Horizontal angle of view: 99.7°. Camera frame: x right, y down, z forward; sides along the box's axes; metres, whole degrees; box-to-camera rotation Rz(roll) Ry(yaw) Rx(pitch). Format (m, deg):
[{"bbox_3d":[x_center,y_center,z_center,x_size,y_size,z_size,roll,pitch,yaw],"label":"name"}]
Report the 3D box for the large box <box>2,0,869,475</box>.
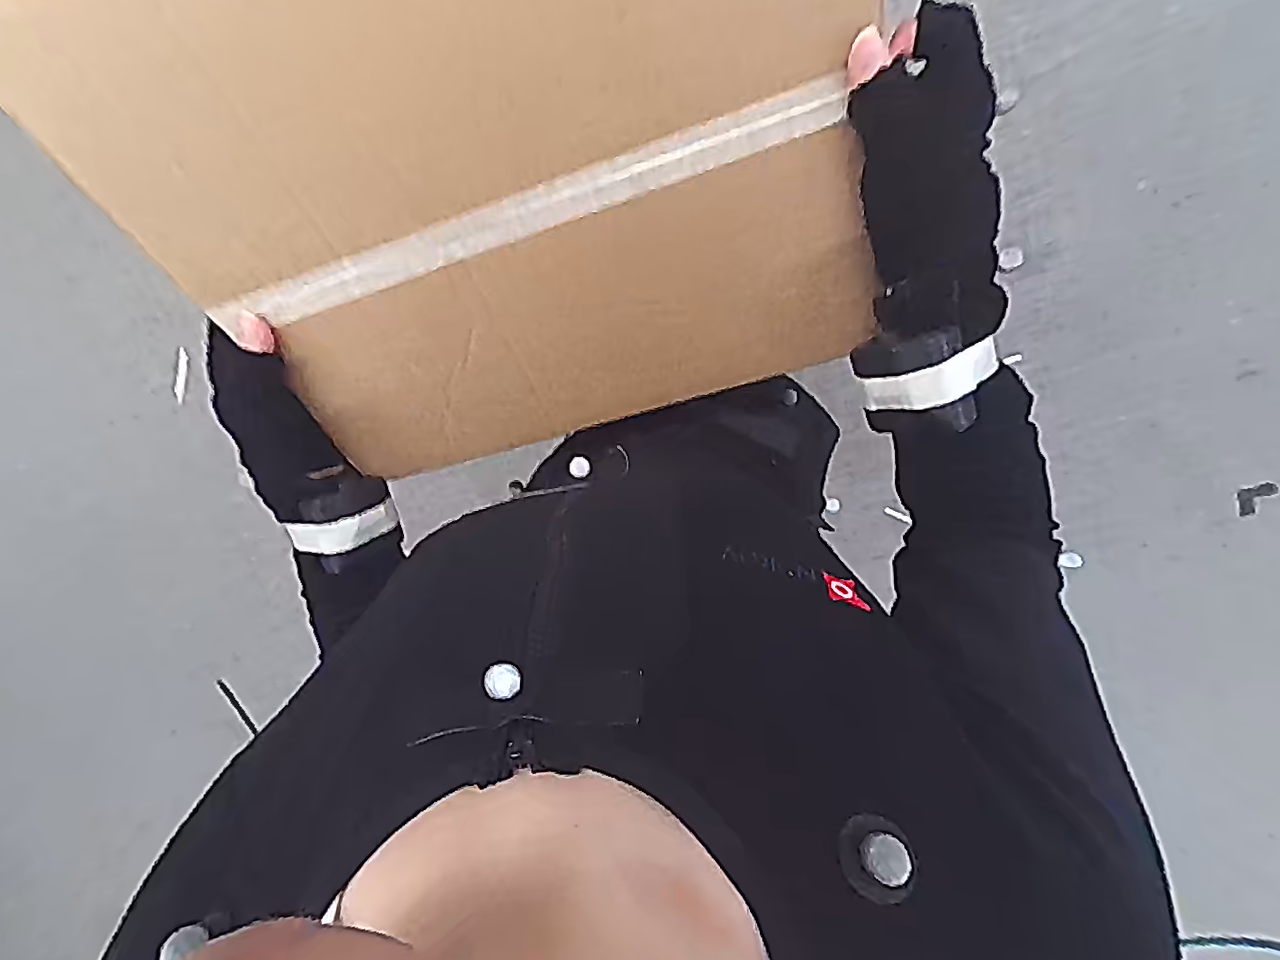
[{"bbox_3d":[-0.077,-0.258,0.423,0.408,0.320,0.320,-14,134,12],"label":"large box"}]
